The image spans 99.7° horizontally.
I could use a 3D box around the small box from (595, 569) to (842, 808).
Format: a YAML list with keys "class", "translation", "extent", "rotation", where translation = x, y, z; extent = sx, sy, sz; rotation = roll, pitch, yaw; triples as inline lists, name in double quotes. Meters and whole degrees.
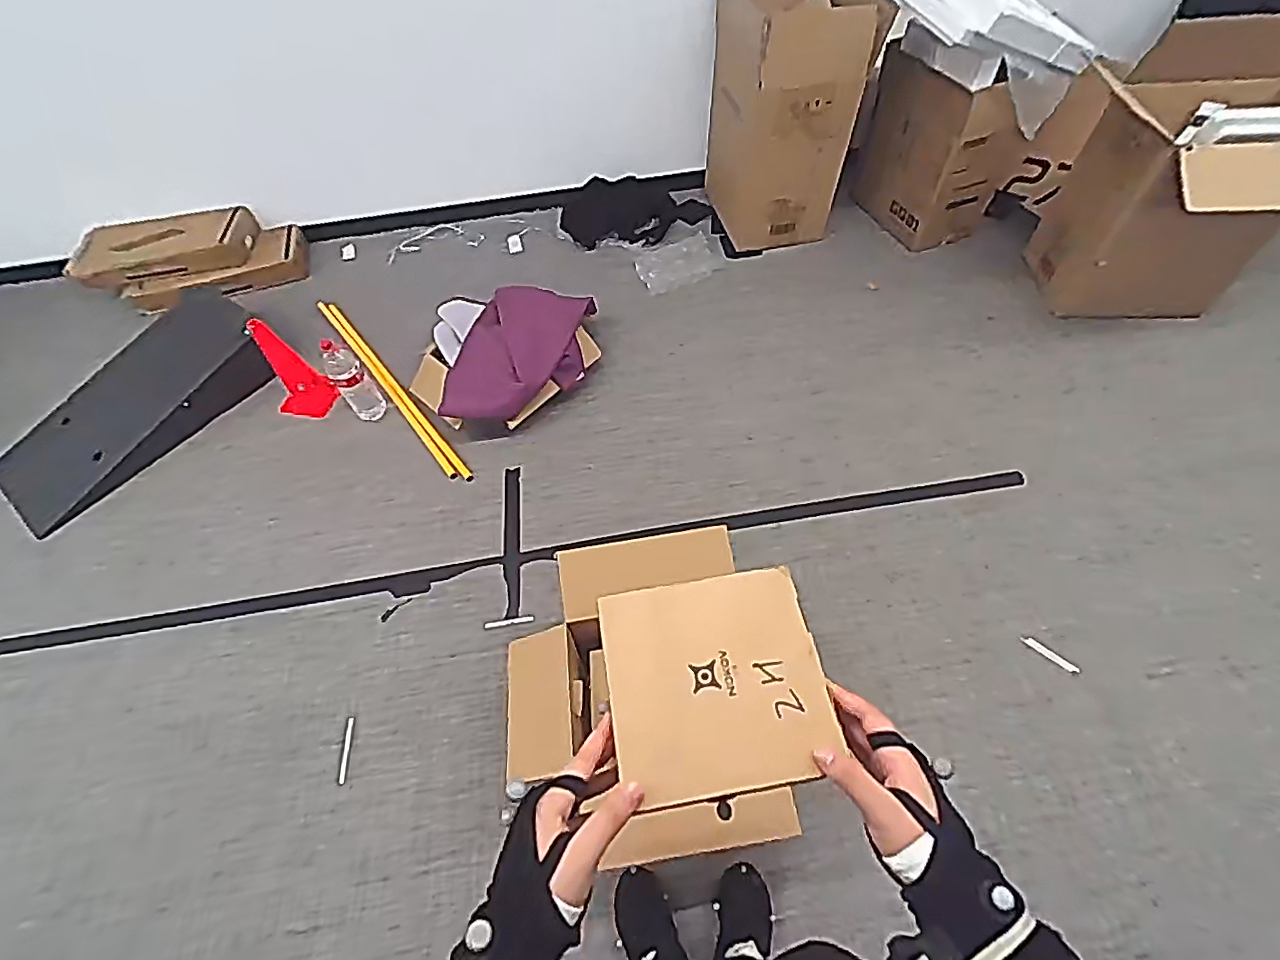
- class: "small box"
  translation: [0.060, 0.204, 0.512]
  extent: [0.179, 0.176, 0.168]
  rotation: [-9, 59, -4]
